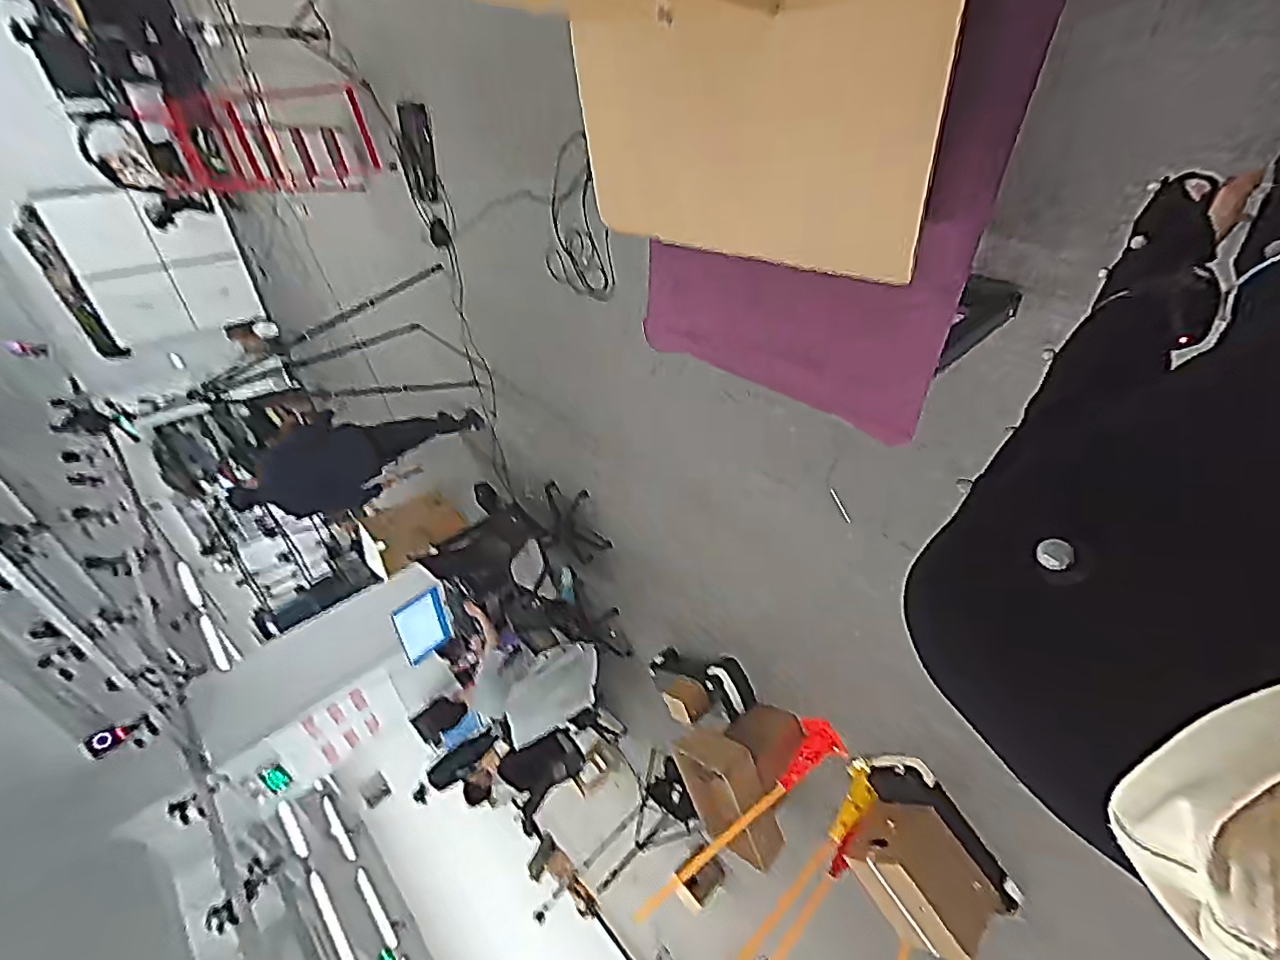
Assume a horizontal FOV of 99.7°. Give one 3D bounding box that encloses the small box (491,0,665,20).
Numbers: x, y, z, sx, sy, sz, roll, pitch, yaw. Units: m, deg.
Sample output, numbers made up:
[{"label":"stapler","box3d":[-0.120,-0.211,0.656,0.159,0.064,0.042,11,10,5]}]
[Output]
[{"label":"small box","box3d":[-0.074,-0.566,0.518,0.179,0.176,0.168,28,131,36]}]
